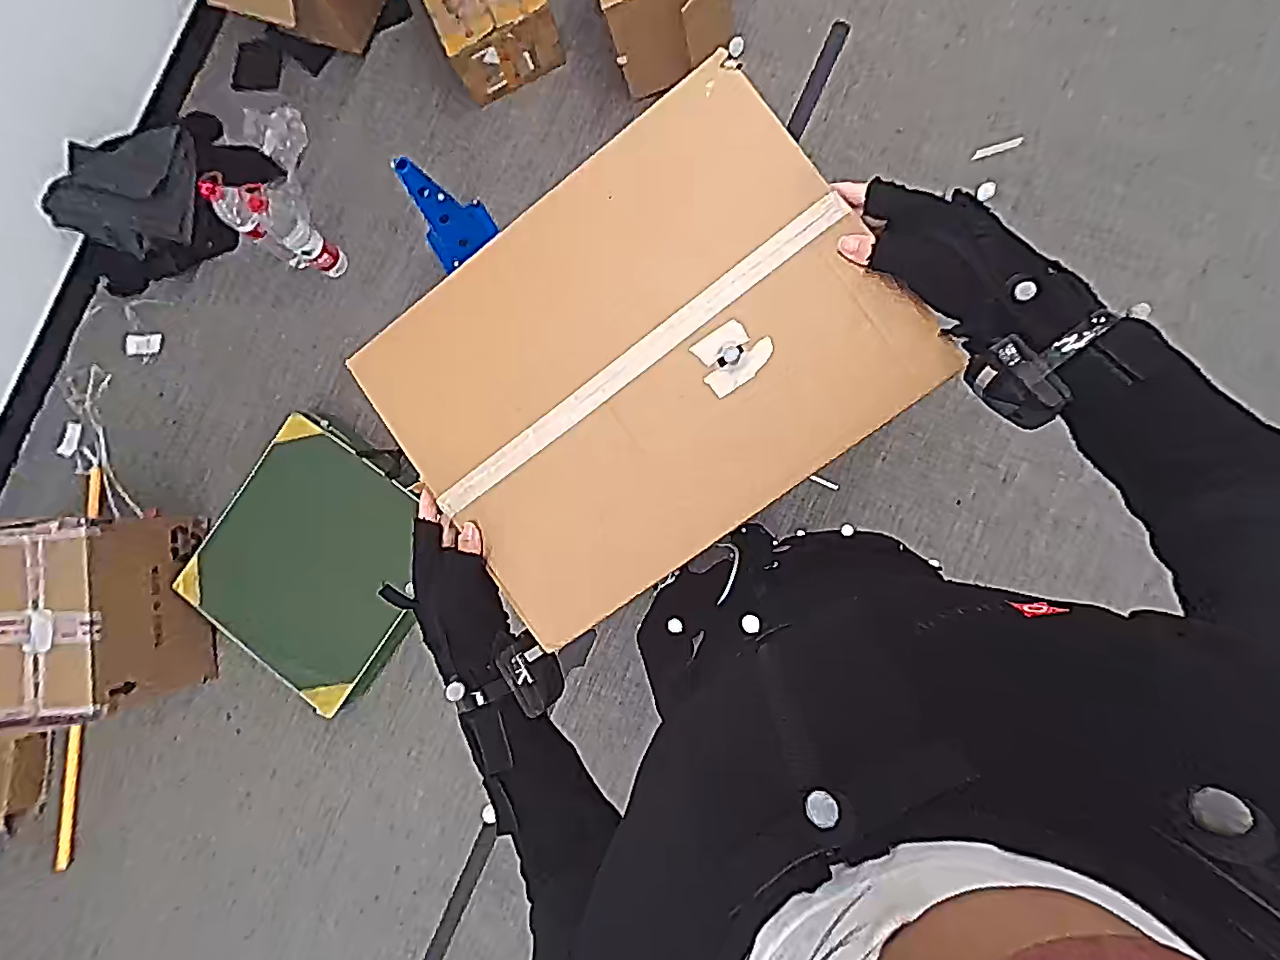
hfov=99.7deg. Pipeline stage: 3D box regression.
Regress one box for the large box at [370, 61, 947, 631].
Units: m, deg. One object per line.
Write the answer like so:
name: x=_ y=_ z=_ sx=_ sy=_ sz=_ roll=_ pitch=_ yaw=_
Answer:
large box: x=0.017 y=-0.106 z=0.600 sx=0.408 sy=0.320 sz=0.320 roll=-36 pitch=87 yaw=7
